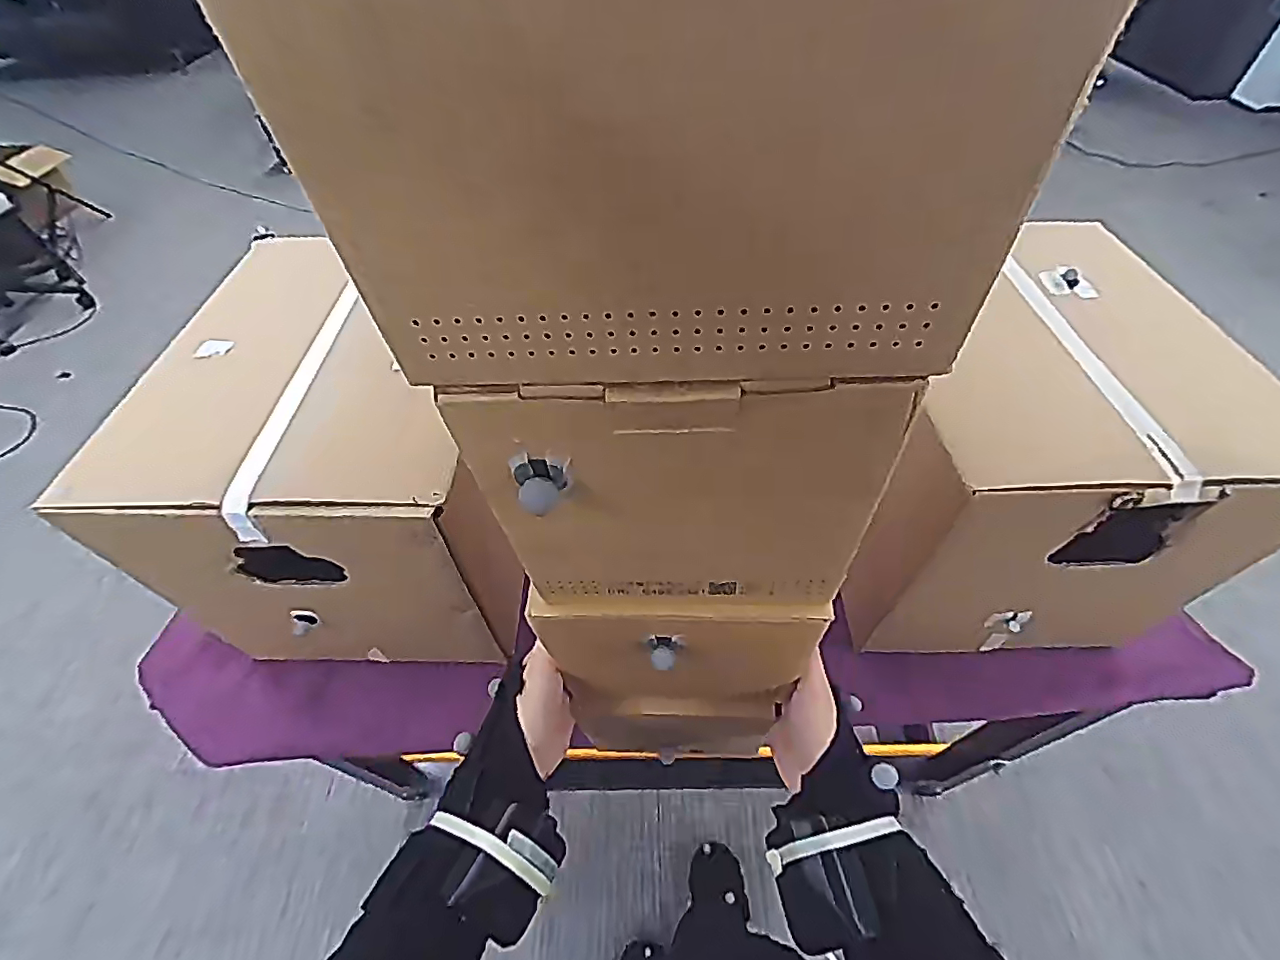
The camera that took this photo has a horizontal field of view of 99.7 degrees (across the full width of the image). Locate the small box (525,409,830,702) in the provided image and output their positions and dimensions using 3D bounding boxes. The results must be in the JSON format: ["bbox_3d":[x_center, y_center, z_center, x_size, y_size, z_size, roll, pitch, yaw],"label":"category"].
[{"bbox_3d":[0.029,0.063,0.415,0.179,0.176,0.168,-1,53,6],"label":"small box"}]

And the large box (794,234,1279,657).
[{"bbox_3d":[0.396,-0.044,0.647,0.320,0.320,0.408,-2,49,0],"label":"large box"}]
